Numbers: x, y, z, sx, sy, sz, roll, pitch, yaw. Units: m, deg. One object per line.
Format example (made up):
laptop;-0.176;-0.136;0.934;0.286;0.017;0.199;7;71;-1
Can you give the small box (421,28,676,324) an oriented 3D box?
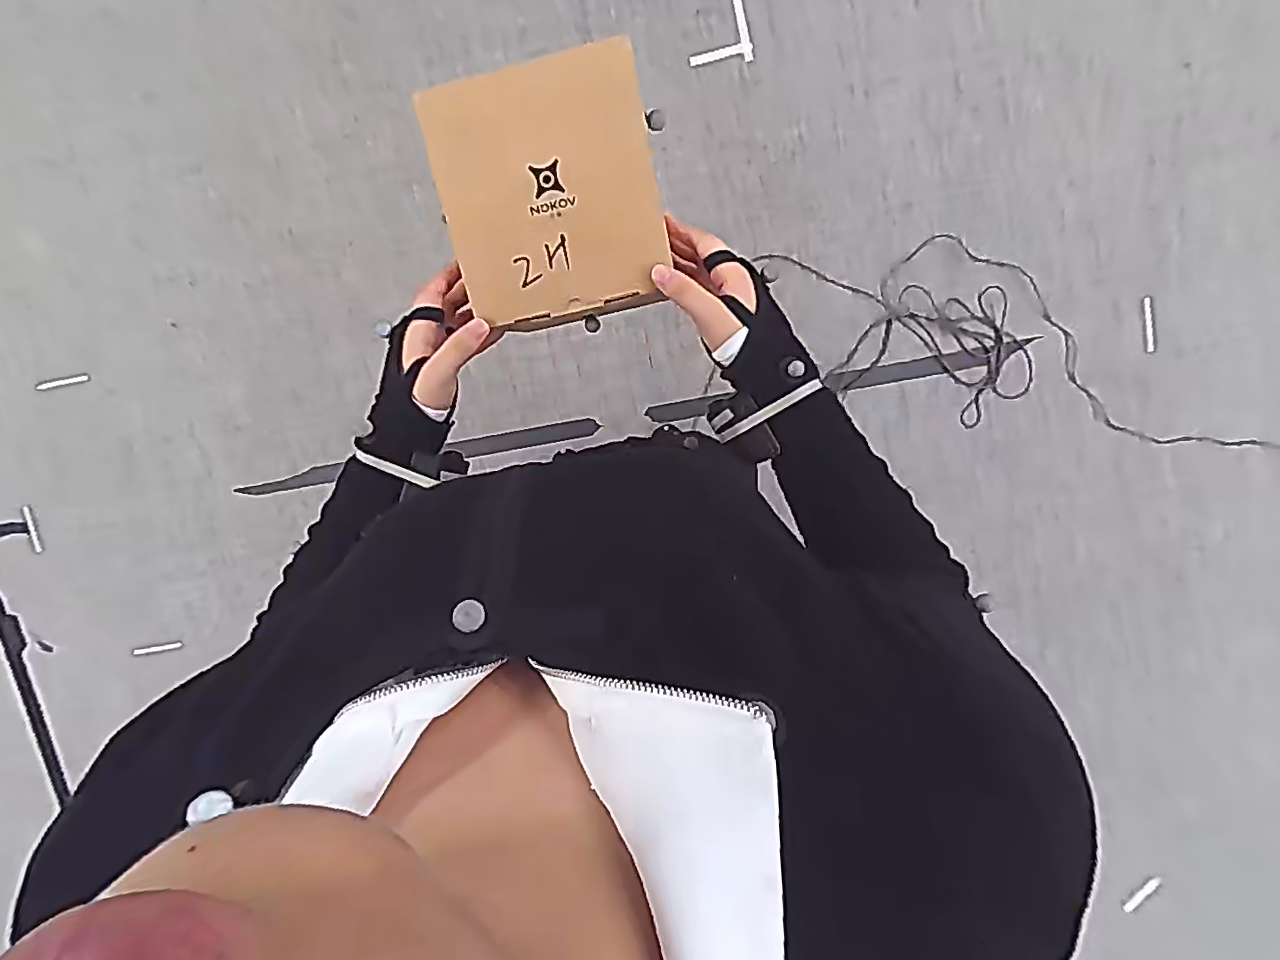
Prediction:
small box;-0.066;-0.247;0.489;0.168;0.176;0.179;-11;104;5
